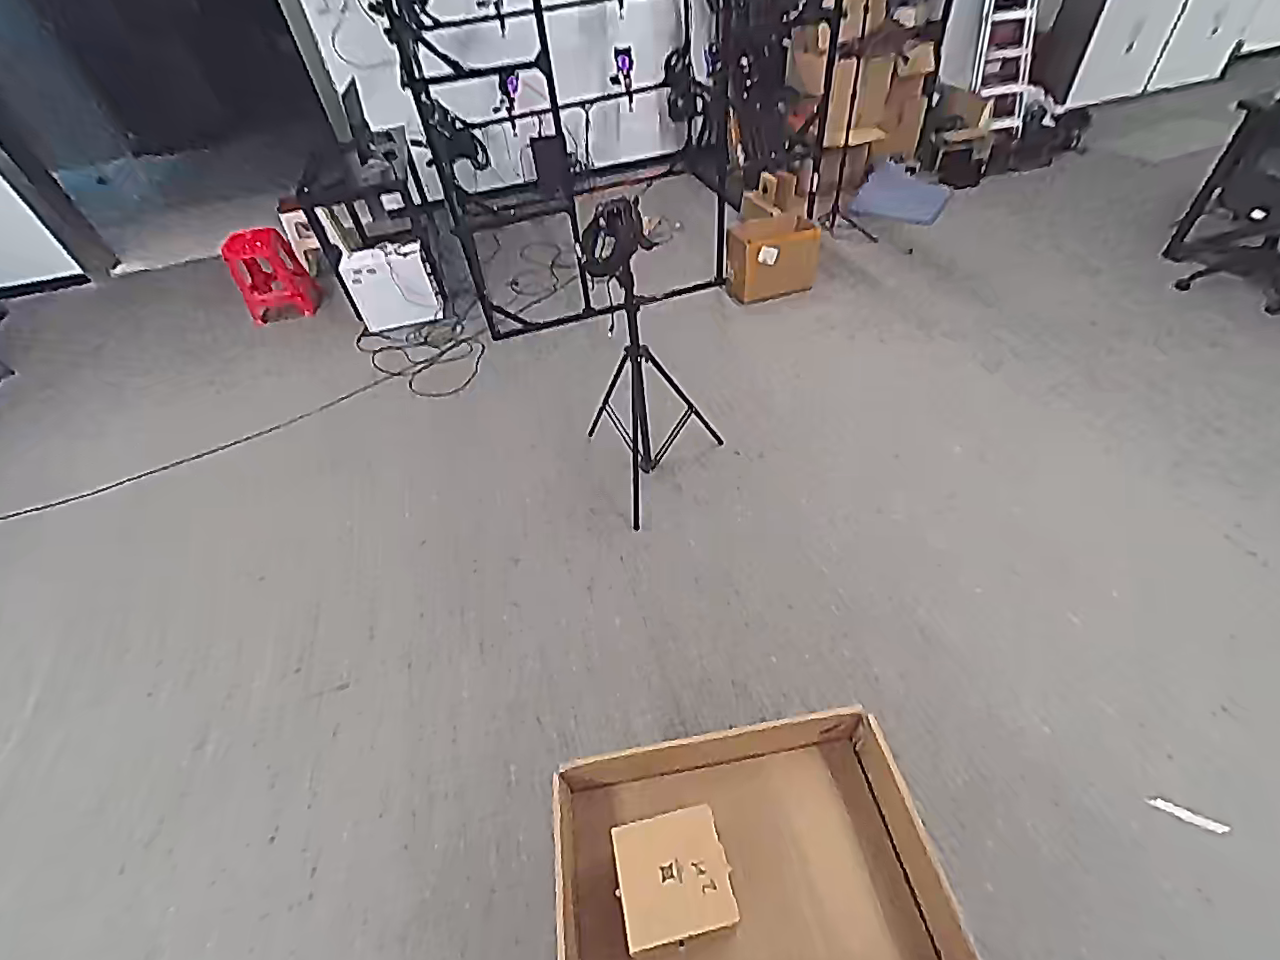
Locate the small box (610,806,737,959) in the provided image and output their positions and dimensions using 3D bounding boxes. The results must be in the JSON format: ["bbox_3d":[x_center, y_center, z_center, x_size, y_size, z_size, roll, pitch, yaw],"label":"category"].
[{"bbox_3d":[0.056,0.686,0.918,0.179,0.176,0.168,-11,46,-5],"label":"small box"}]
